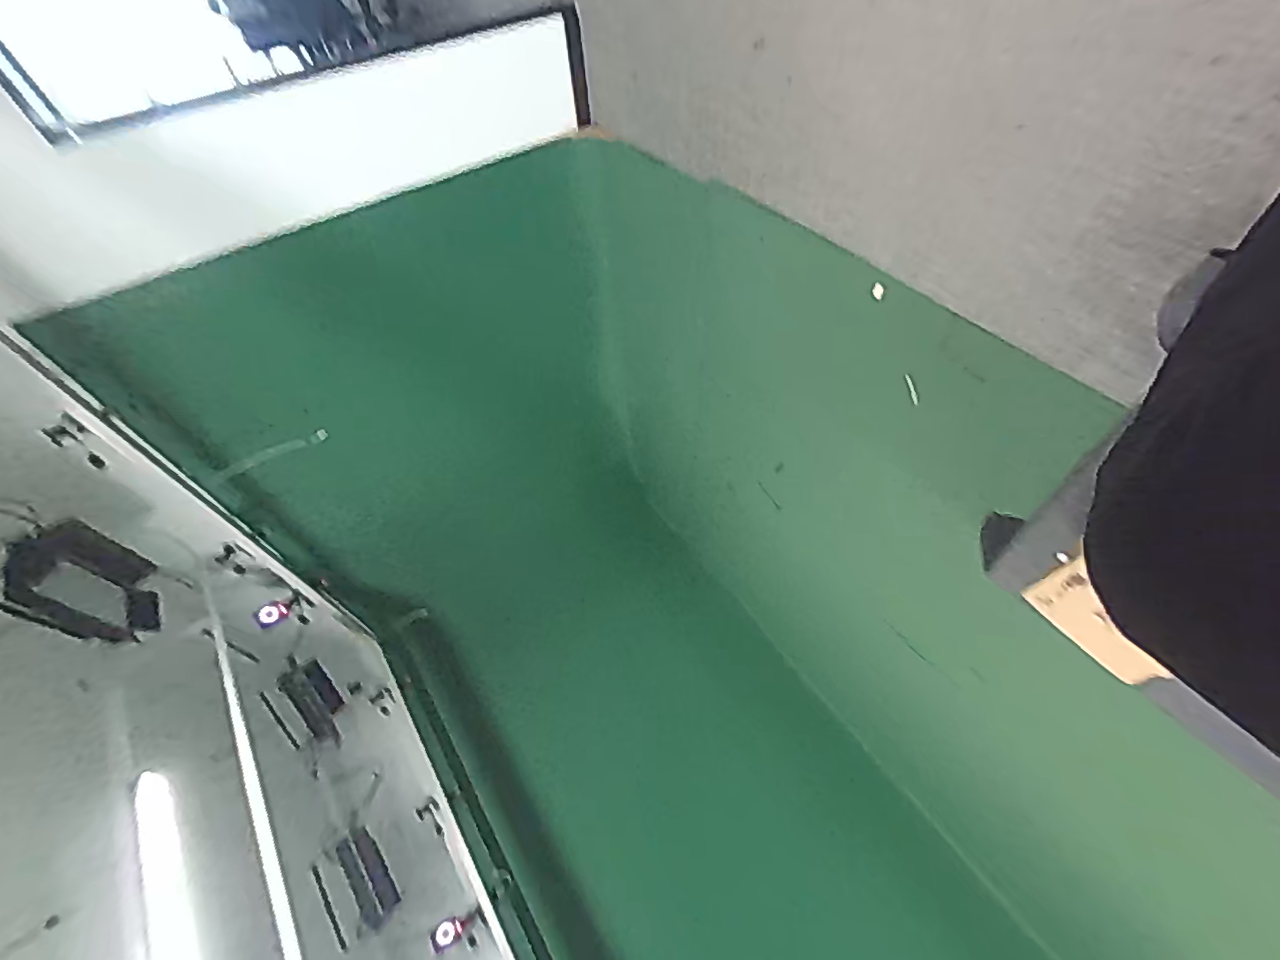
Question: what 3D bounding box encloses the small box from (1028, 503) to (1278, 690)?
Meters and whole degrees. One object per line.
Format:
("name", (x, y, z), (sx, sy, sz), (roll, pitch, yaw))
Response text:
("small box", (0.734, 0.167, 0.785), (0.179, 0.176, 0.168), (48, 158, 26))
